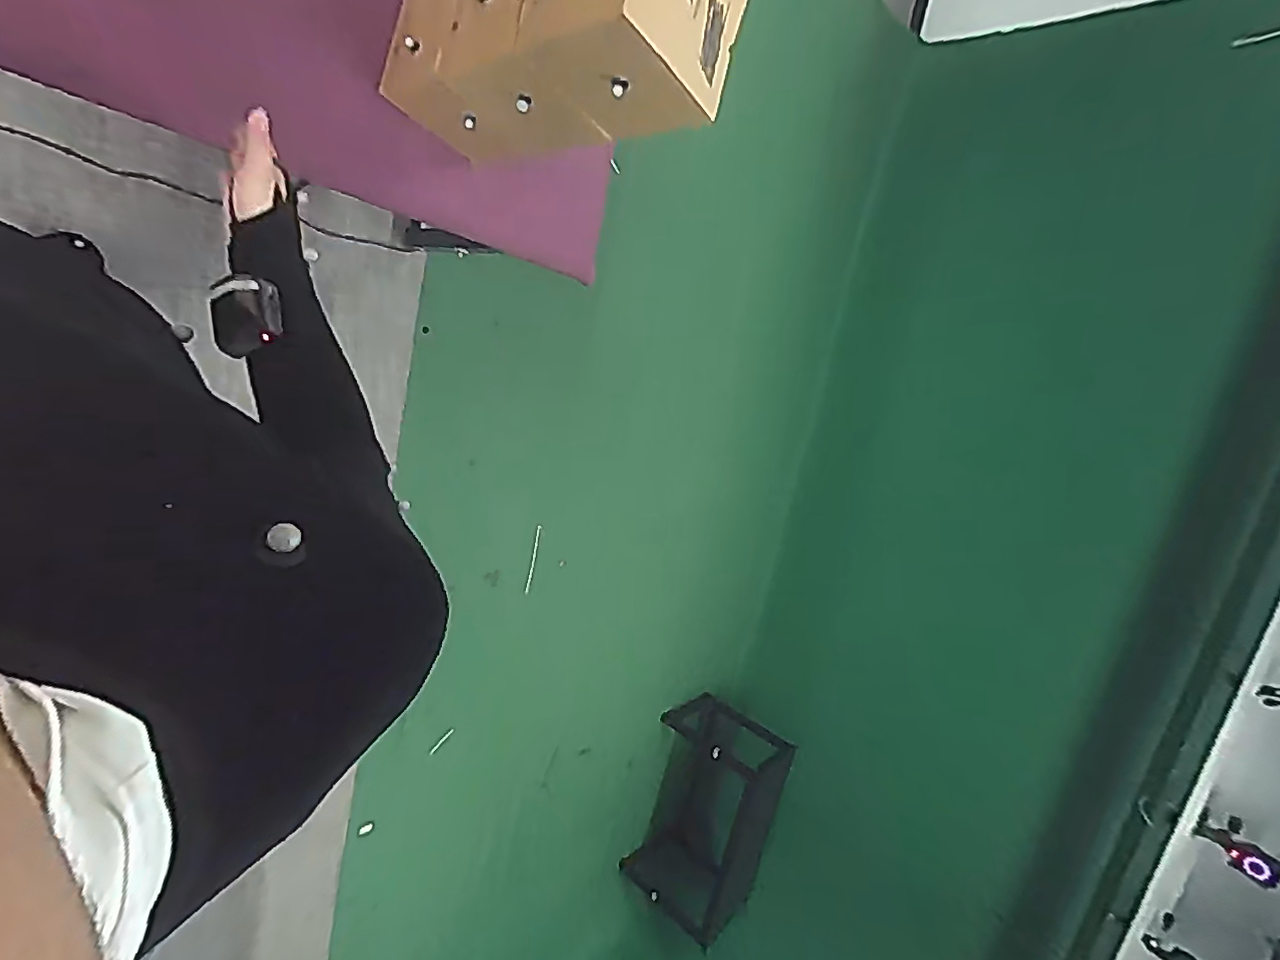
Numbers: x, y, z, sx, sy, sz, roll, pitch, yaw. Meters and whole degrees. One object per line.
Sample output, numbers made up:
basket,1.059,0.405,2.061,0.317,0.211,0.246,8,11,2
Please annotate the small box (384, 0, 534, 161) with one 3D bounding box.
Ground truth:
small box,-0.254,-0.612,0.818,0.179,0.176,0.168,15,94,-53

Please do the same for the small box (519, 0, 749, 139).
small box,-0.006,-0.523,0.622,0.179,0.176,0.168,8,99,-52
